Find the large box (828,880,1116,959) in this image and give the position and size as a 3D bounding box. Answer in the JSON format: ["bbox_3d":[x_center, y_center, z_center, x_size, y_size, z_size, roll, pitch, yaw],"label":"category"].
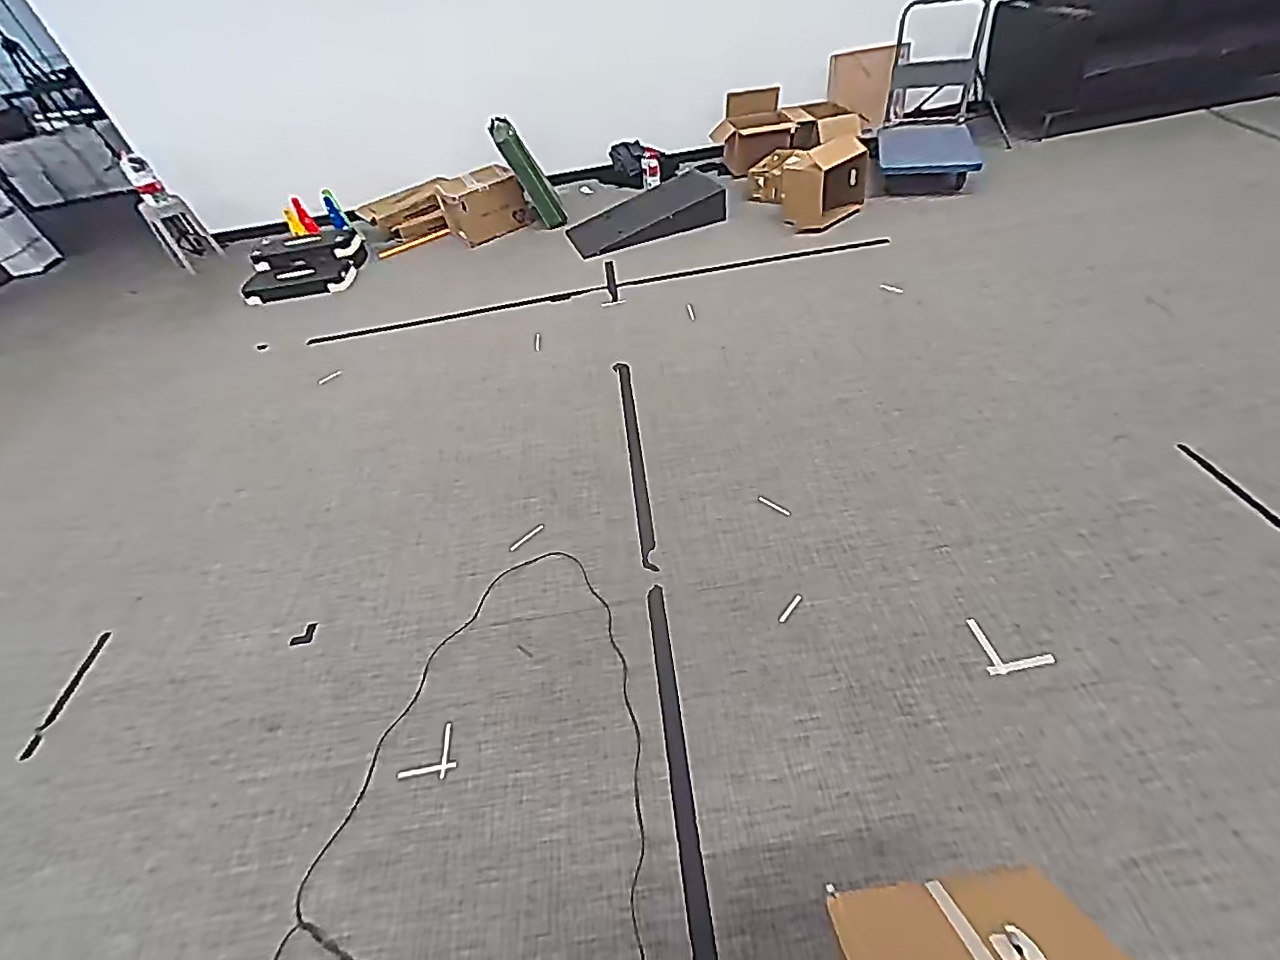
[{"bbox_3d":[0.441,0.740,0.588,0.320,0.408,0.320,-9,84,4],"label":"large box"}]
